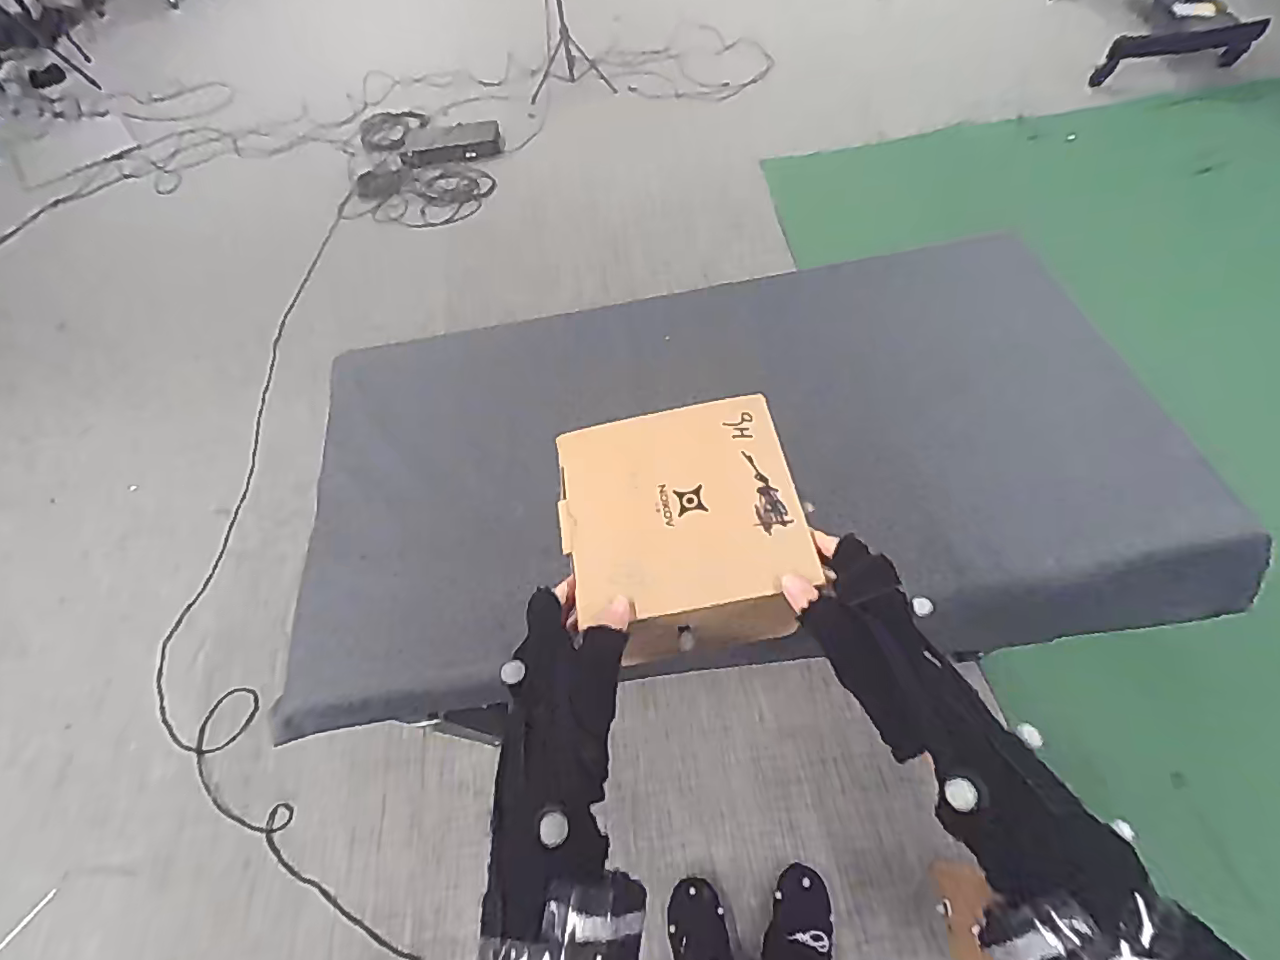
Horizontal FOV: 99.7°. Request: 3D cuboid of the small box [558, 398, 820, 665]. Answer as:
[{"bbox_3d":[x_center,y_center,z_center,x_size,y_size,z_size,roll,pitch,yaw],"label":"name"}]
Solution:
[{"bbox_3d":[0.038,0.056,0.476,0.179,0.176,0.168,-11,62,2],"label":"small box"}]
